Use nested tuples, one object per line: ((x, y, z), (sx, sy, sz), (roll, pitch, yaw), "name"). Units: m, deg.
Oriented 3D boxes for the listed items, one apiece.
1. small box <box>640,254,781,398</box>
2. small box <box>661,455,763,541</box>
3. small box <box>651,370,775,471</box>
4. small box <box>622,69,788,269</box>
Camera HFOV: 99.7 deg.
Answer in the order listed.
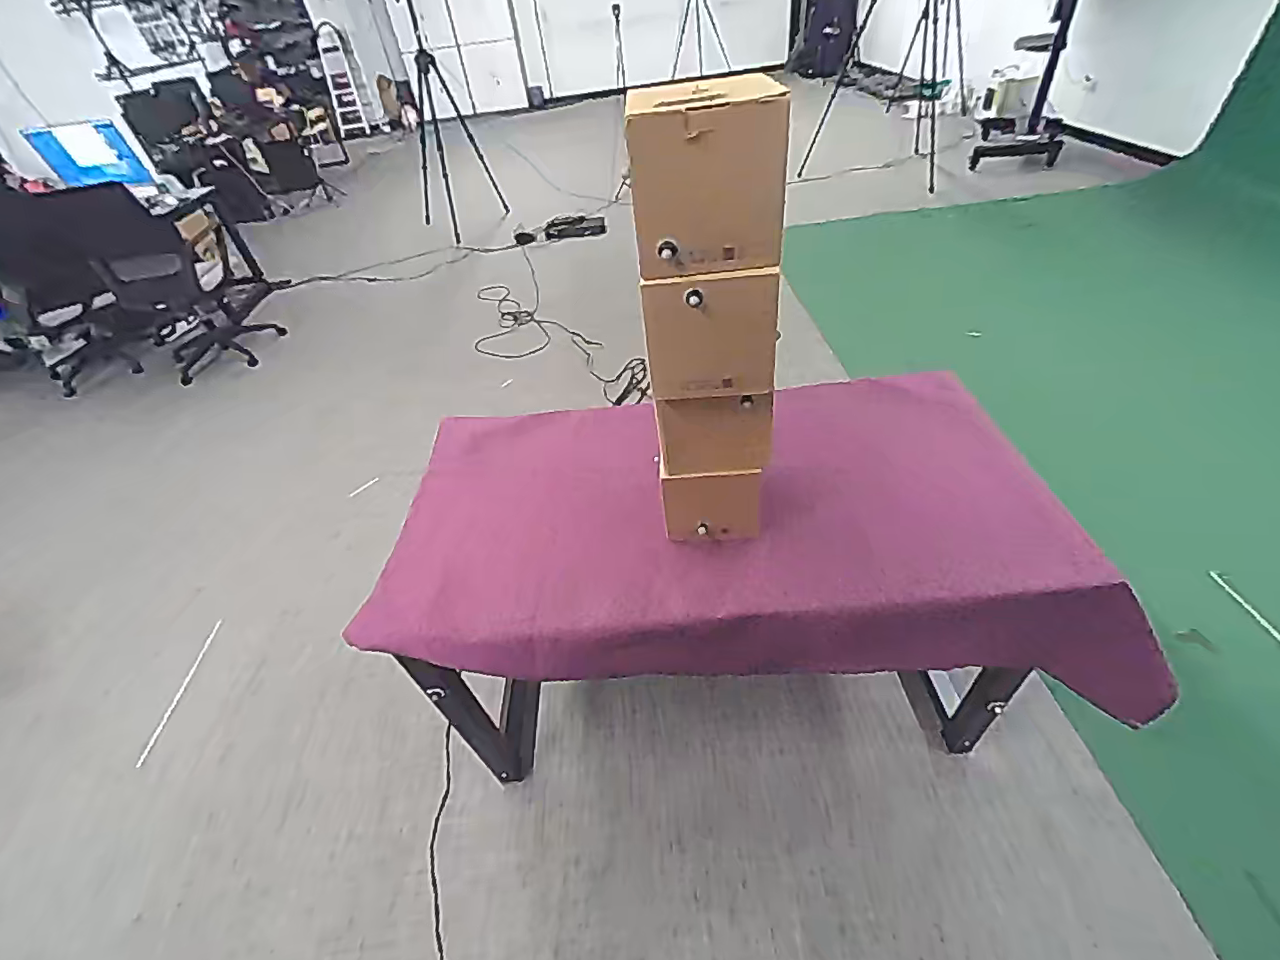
((0.096, -0.231, 0.739), (0.168, 0.176, 0.179), (-3, 42, 8), "small box")
((0.127, -0.010, 0.977), (0.168, 0.176, 0.179), (-4, 44, 7), "small box")
((0.115, -0.128, 0.868), (0.179, 0.176, 0.168), (-4, 43, 5), "small box")
((0.073, -0.360, 0.638), (0.168, 0.176, 0.179), (-5, 42, 4), "small box")
